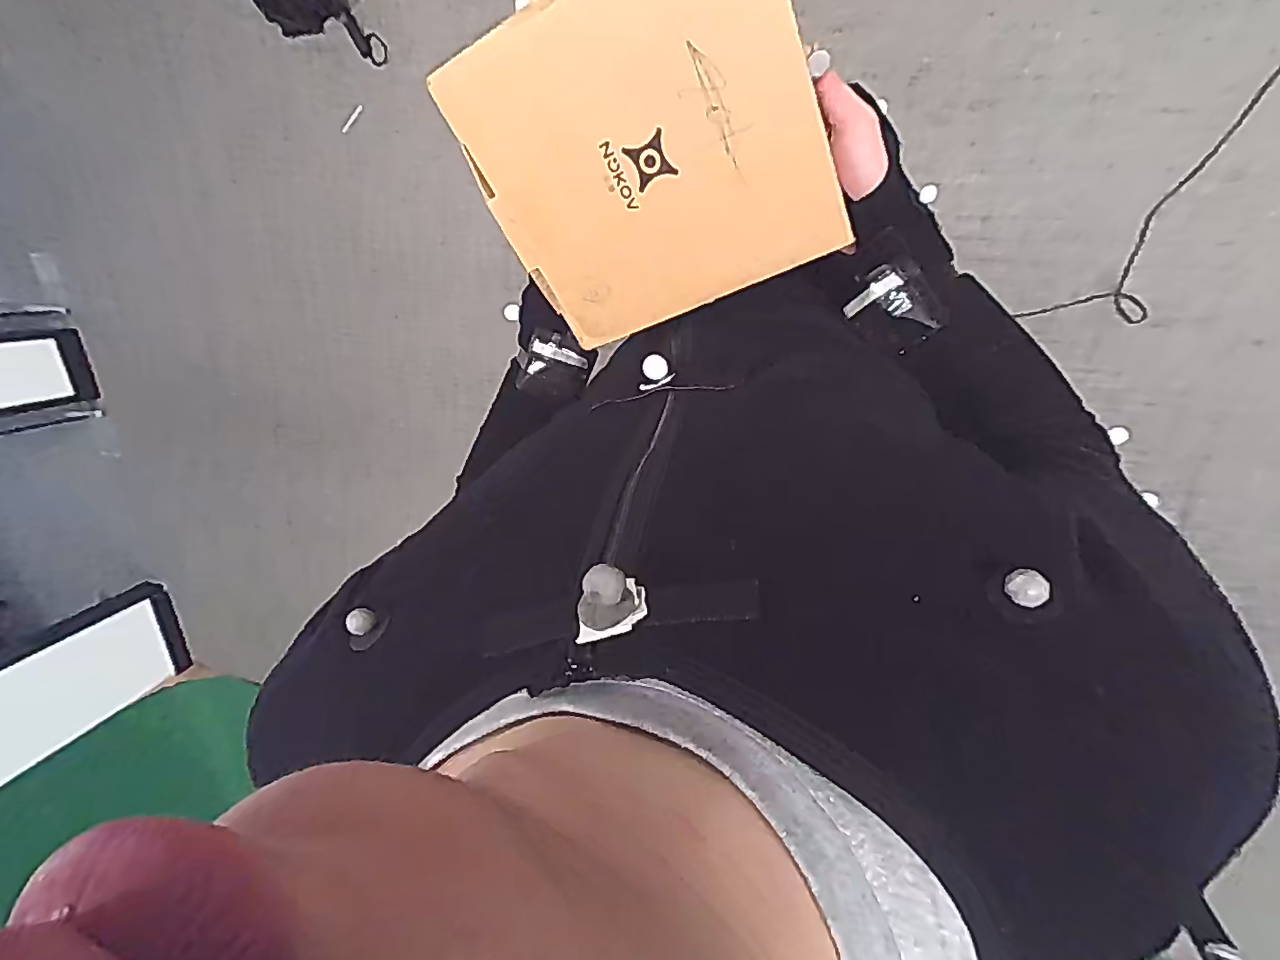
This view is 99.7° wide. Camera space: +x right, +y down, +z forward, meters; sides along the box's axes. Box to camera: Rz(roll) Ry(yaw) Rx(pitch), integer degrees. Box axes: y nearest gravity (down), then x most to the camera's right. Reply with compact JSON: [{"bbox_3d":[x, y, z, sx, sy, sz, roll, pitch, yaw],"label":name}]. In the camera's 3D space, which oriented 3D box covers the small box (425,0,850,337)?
[{"bbox_3d":[0.014,-0.224,0.337,0.179,0.176,0.168,-17,127,24],"label":"small box"}]
